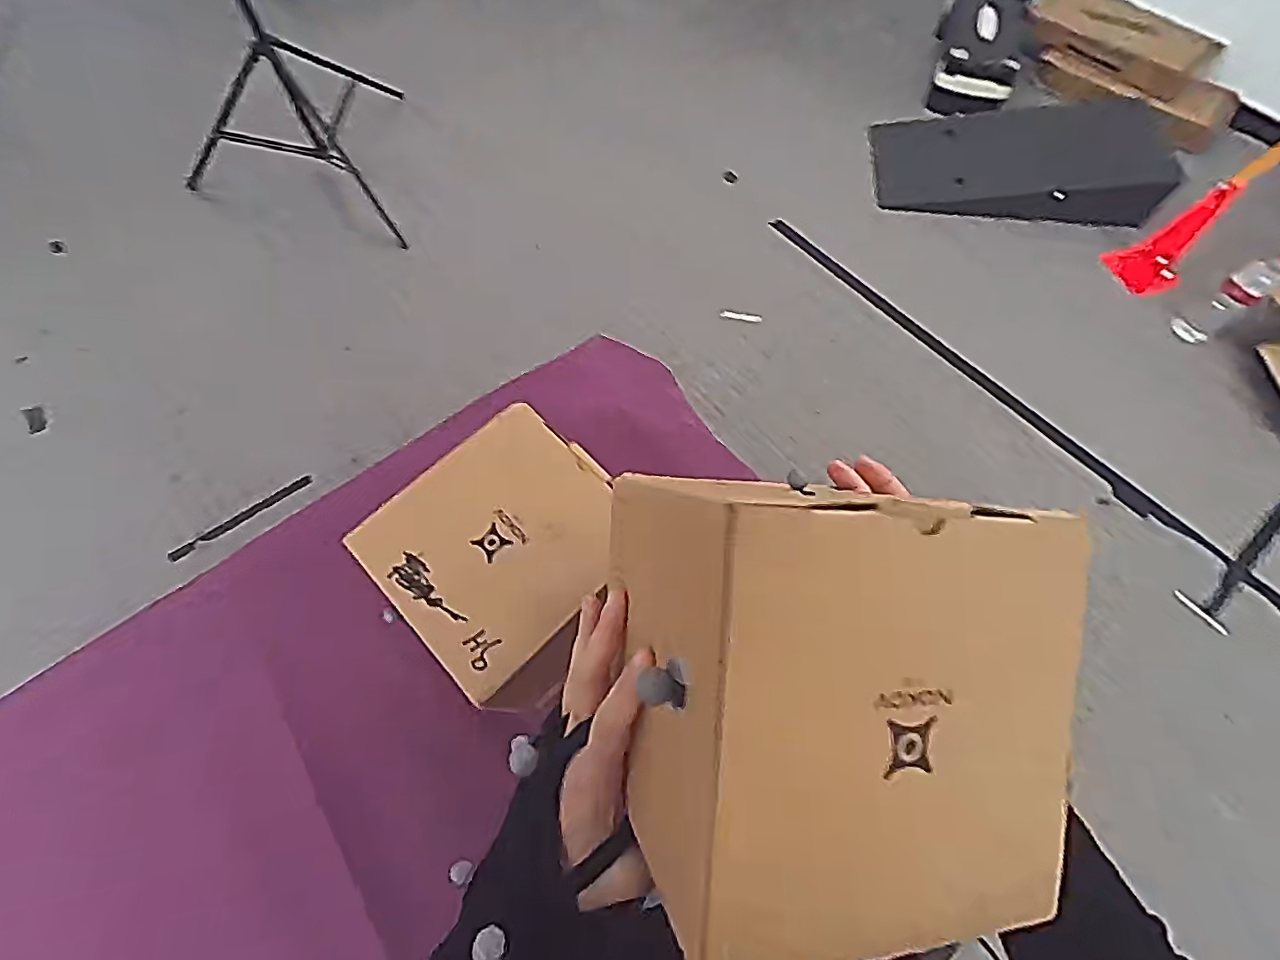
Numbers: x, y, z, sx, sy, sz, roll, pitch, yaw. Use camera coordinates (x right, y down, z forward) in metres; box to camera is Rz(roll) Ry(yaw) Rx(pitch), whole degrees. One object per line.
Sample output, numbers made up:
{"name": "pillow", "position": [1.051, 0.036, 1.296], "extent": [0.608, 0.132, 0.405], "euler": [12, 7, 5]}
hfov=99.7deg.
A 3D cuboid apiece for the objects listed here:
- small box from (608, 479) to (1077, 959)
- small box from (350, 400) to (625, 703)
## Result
{"name": "small box", "position": [0.080, 0.093, 0.288], "extent": [0.168, 0.176, 0.179], "euler": [3, 91, -14]}
{"name": "small box", "position": [-0.102, 0.071, 0.477], "extent": [0.179, 0.176, 0.168], "euler": [-42, 72, -18]}
